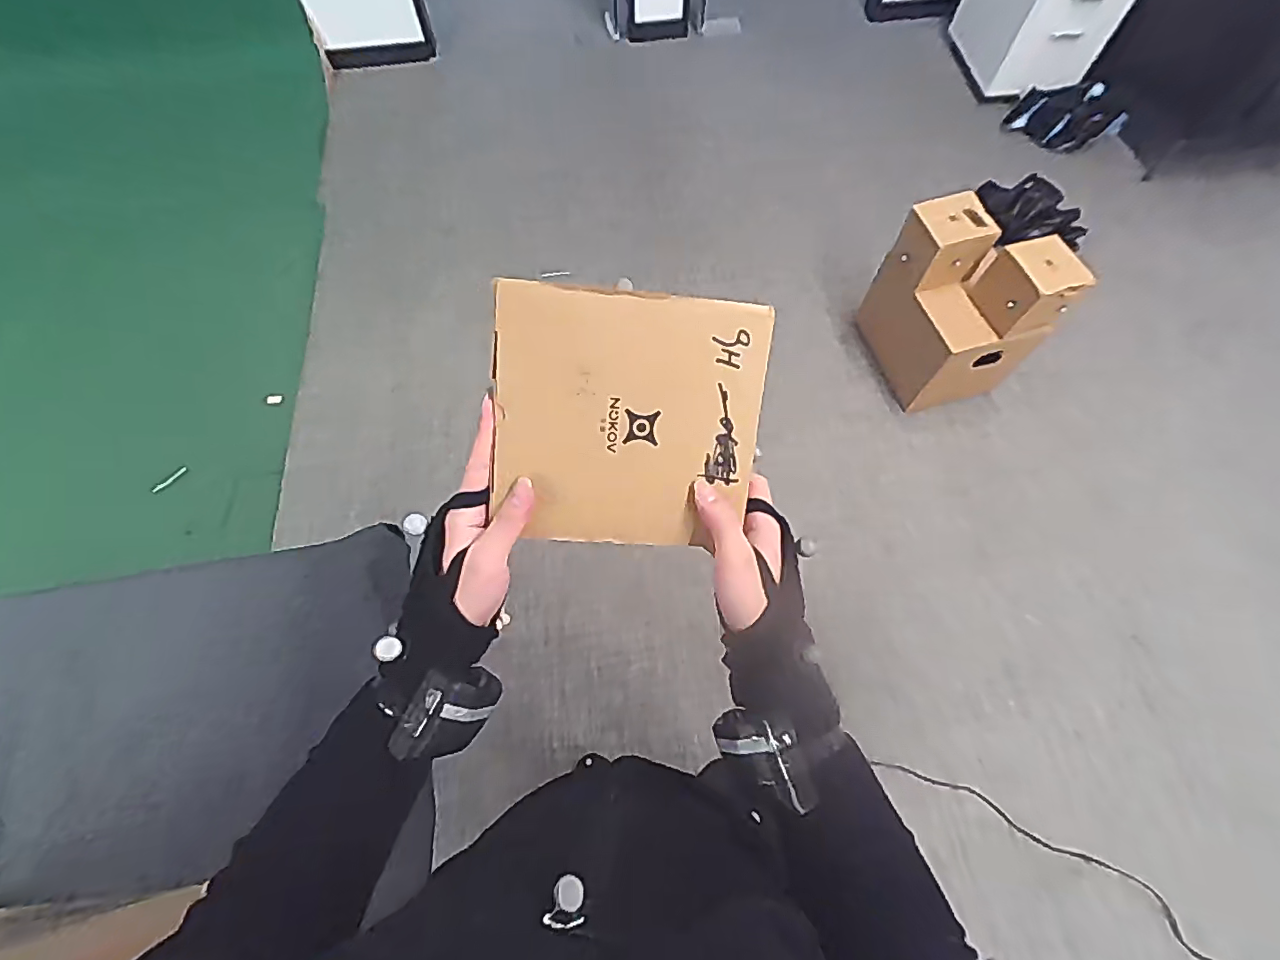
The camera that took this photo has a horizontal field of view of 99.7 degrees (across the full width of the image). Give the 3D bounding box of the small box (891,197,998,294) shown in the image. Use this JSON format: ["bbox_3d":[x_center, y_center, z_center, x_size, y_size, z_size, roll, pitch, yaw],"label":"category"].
[{"bbox_3d":[0.847,-0.655,1.525,0.179,0.176,0.168,-14,66,-2],"label":"small box"}]

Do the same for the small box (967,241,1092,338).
[{"bbox_3d":[1.034,-0.503,1.453,0.168,0.176,0.179,-15,65,-10],"label":"small box"}]
